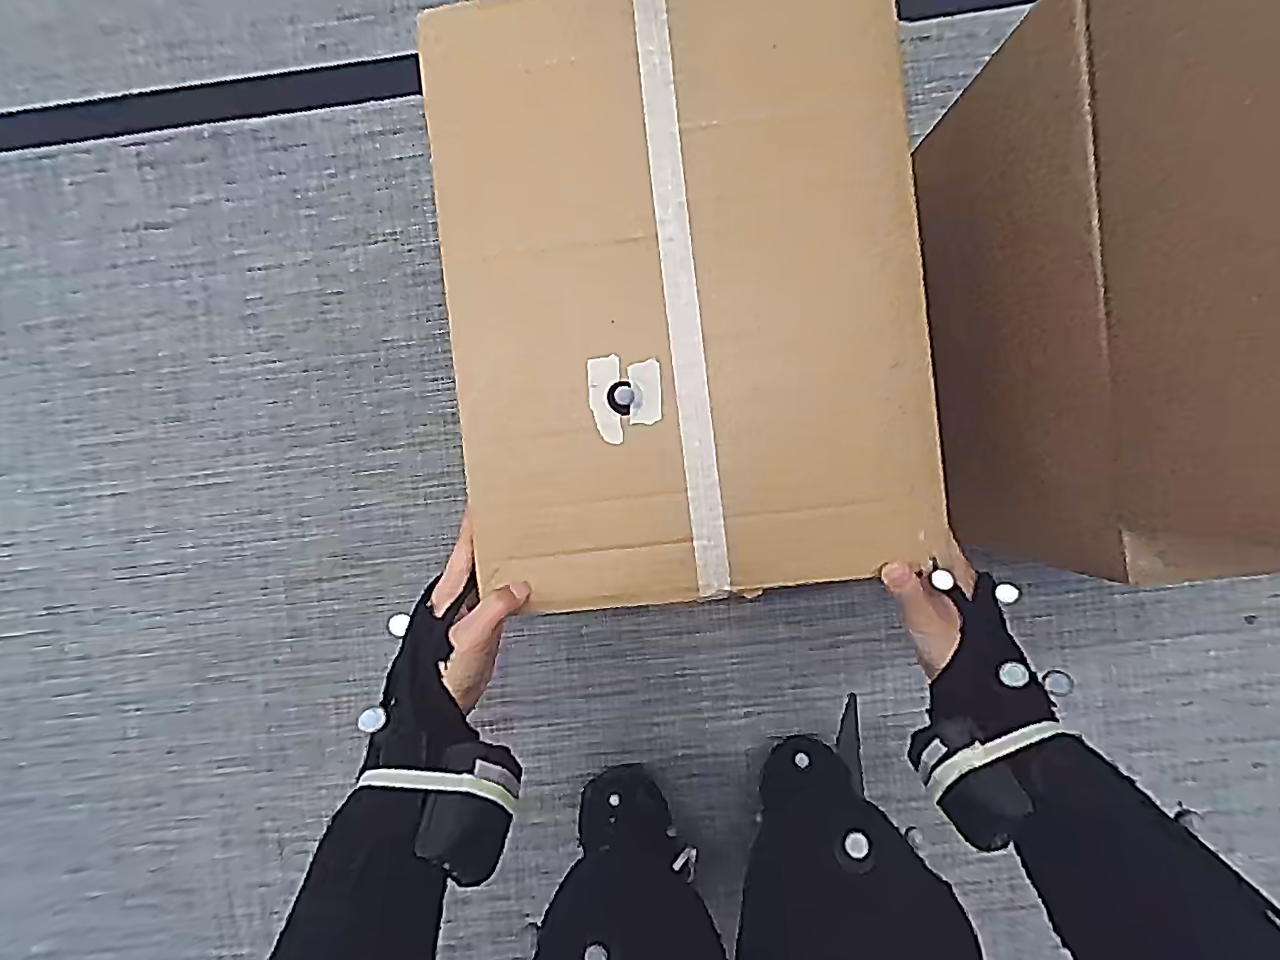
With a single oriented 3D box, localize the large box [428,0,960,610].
[{"bbox_3d":[0.038,-0.130,0.507,0.320,0.320,0.408,-7,91,3],"label":"large box"}]
